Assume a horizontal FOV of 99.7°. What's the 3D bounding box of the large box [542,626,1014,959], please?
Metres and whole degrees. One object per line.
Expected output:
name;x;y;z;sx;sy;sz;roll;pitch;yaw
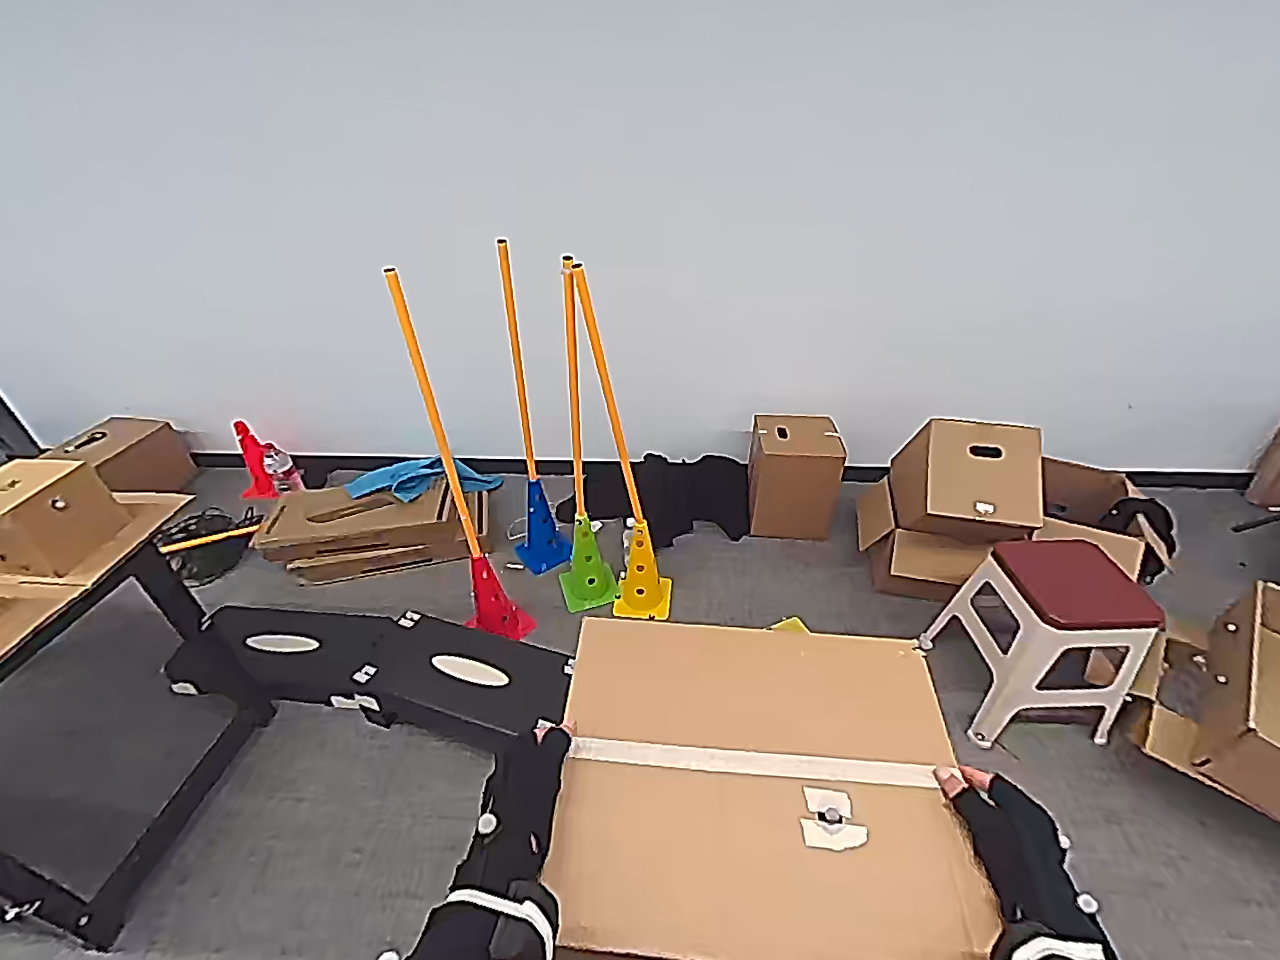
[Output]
large box;0.122;0.404;0.660;0.408;0.320;0.320;3;43;4
